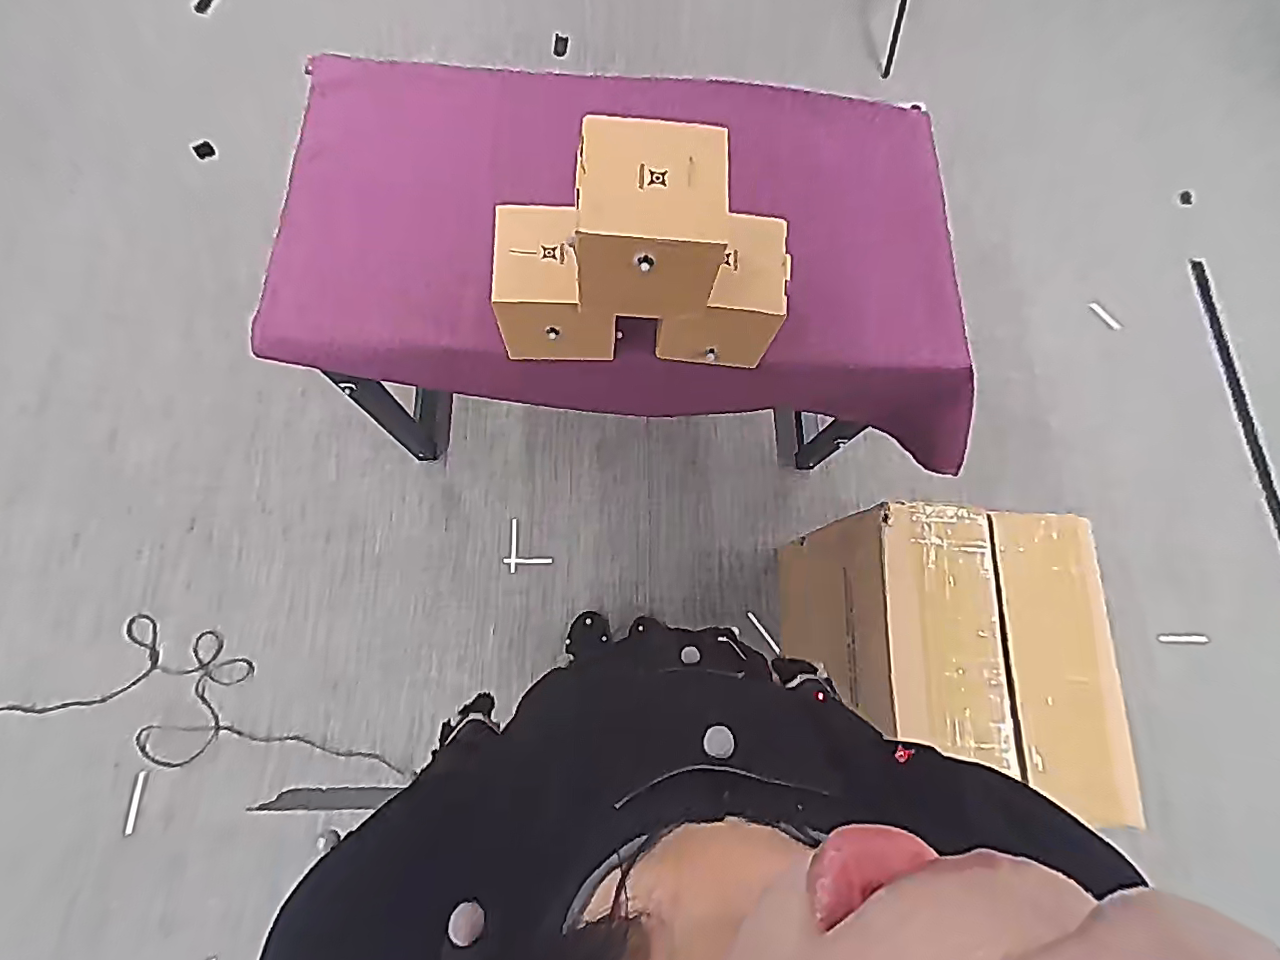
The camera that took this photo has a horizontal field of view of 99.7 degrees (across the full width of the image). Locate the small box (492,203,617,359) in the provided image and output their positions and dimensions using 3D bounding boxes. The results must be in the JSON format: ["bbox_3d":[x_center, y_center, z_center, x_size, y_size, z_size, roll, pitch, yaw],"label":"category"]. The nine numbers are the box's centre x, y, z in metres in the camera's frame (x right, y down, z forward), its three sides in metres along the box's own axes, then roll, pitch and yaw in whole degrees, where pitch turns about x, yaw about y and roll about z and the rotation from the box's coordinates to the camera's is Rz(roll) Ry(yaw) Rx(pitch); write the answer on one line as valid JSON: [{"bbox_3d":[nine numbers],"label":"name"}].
[{"bbox_3d":[-0.125,-0.303,0.849,0.179,0.176,0.168,0,74,-3],"label":"small box"}]

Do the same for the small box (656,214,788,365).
[{"bbox_3d":[0.126,-0.300,0.870,0.179,0.176,0.168,5,74,-2],"label":"small box"}]

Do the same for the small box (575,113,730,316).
[{"bbox_3d":[0.012,-0.330,0.699,0.179,0.176,0.168,3,75,-4],"label":"small box"}]
